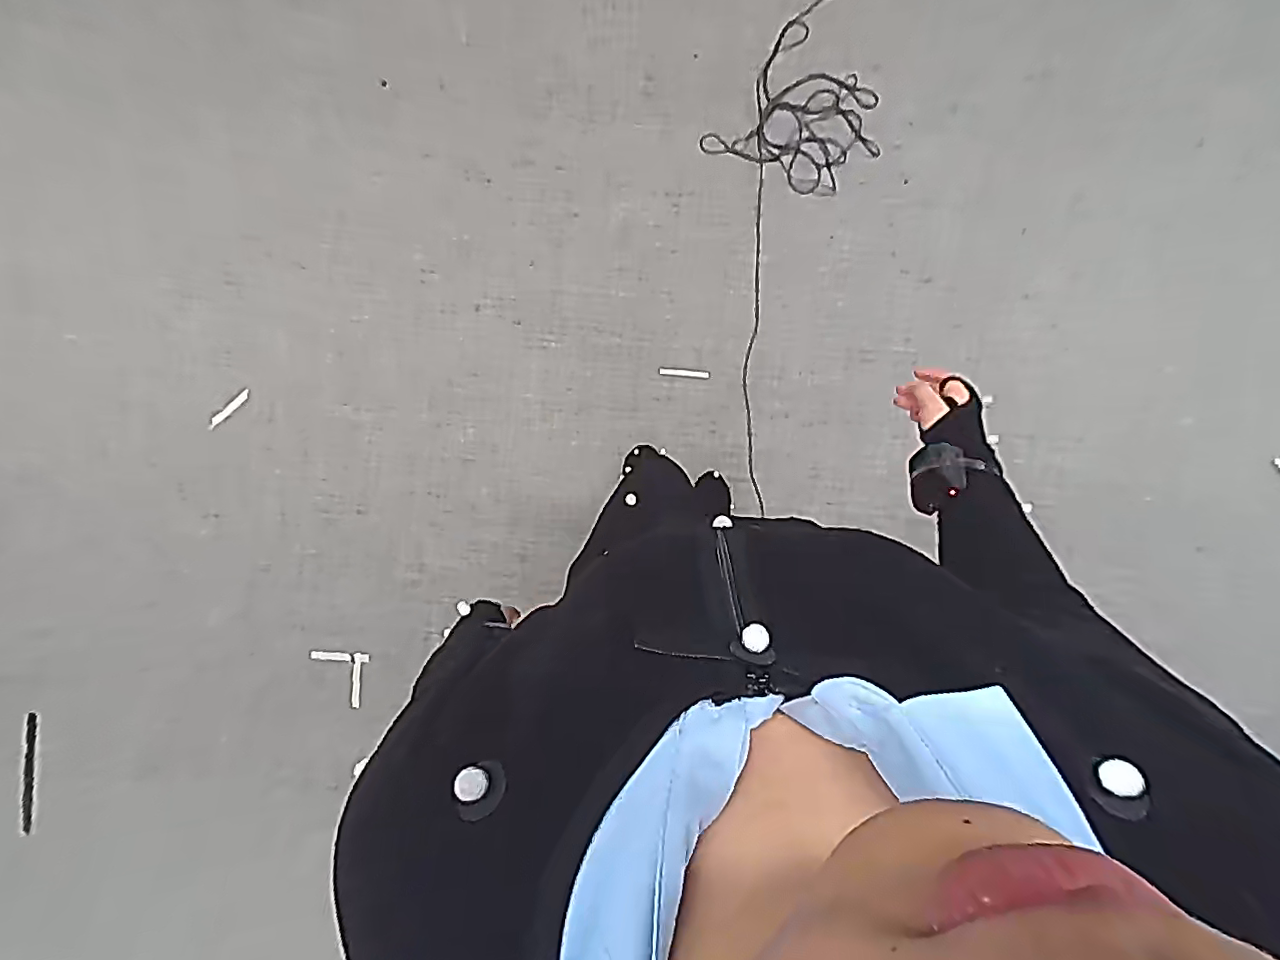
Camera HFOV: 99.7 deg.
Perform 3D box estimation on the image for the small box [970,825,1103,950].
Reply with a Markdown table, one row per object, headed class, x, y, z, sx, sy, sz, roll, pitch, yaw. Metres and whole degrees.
| class | x | y | z | sx | sy | sz | roll | pitch | yaw |
| --- | --- | --- | --- | --- | --- | --- | --- | --- | --- |
| small box | 0.868 | 0.897 | 1.195 | 0.179 | 0.176 | 0.168 | 0 | 91 | 4 |
